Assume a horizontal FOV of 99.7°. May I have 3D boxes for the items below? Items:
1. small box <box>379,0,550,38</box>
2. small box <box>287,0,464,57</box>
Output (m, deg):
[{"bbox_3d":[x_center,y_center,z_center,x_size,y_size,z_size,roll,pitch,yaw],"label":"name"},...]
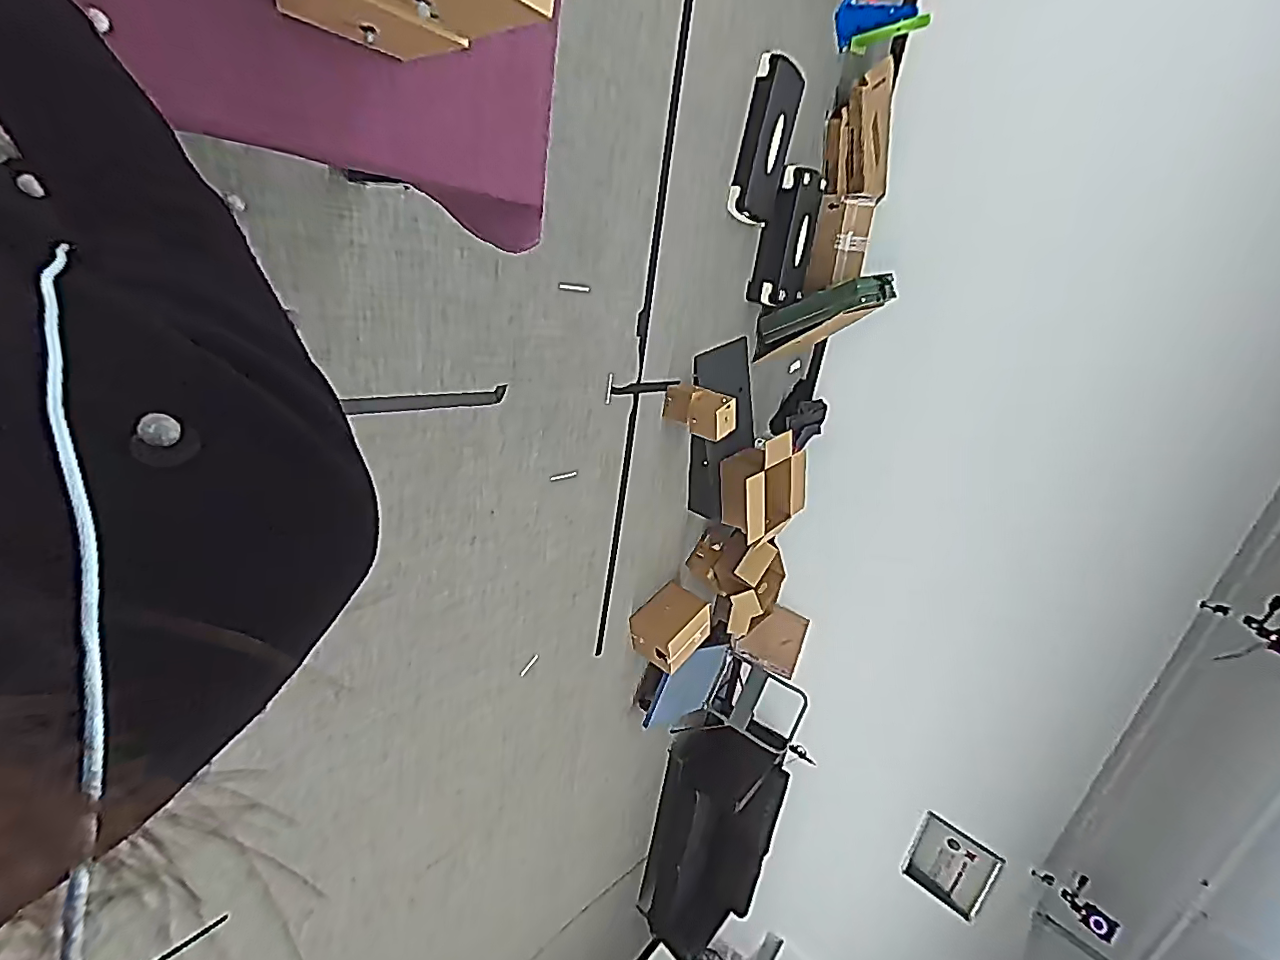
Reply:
[{"bbox_3d":[-0.202,-0.599,0.556,0.168,0.176,0.179,-14,122,-47],"label":"small box"},{"bbox_3d":[-0.326,-0.646,0.653,0.168,0.176,0.179,-16,122,-48],"label":"small box"}]
